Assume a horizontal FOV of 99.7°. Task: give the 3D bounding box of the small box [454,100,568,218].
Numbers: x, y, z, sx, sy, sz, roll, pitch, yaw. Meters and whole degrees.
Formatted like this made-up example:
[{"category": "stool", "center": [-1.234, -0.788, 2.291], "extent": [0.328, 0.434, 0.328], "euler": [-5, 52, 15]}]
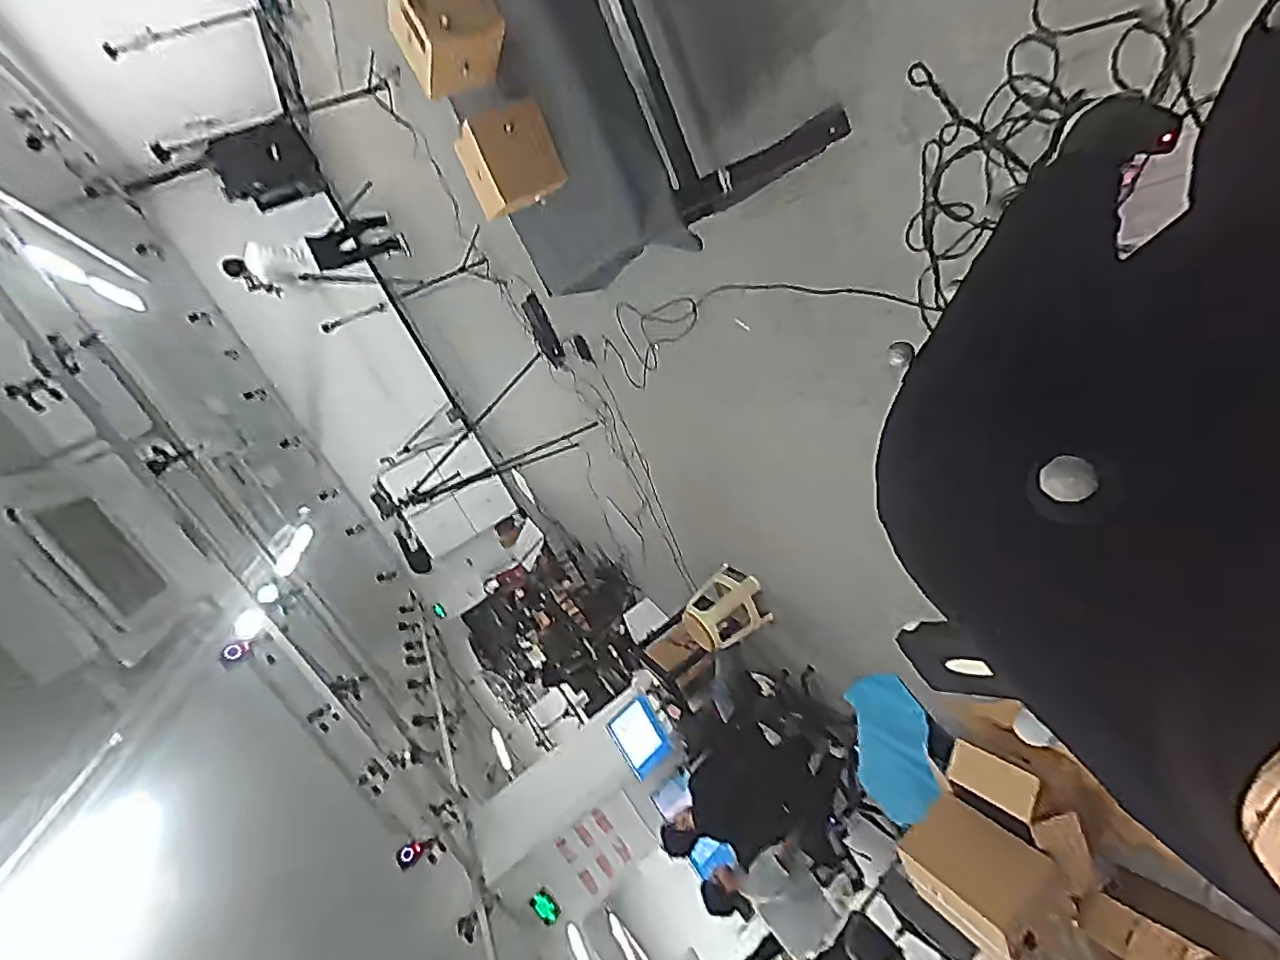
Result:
[{"category": "small box", "center": [-0.292, -0.729, 1.228], "extent": [0.168, 0.176, 0.179], "euler": [23, 142, 60]}]
